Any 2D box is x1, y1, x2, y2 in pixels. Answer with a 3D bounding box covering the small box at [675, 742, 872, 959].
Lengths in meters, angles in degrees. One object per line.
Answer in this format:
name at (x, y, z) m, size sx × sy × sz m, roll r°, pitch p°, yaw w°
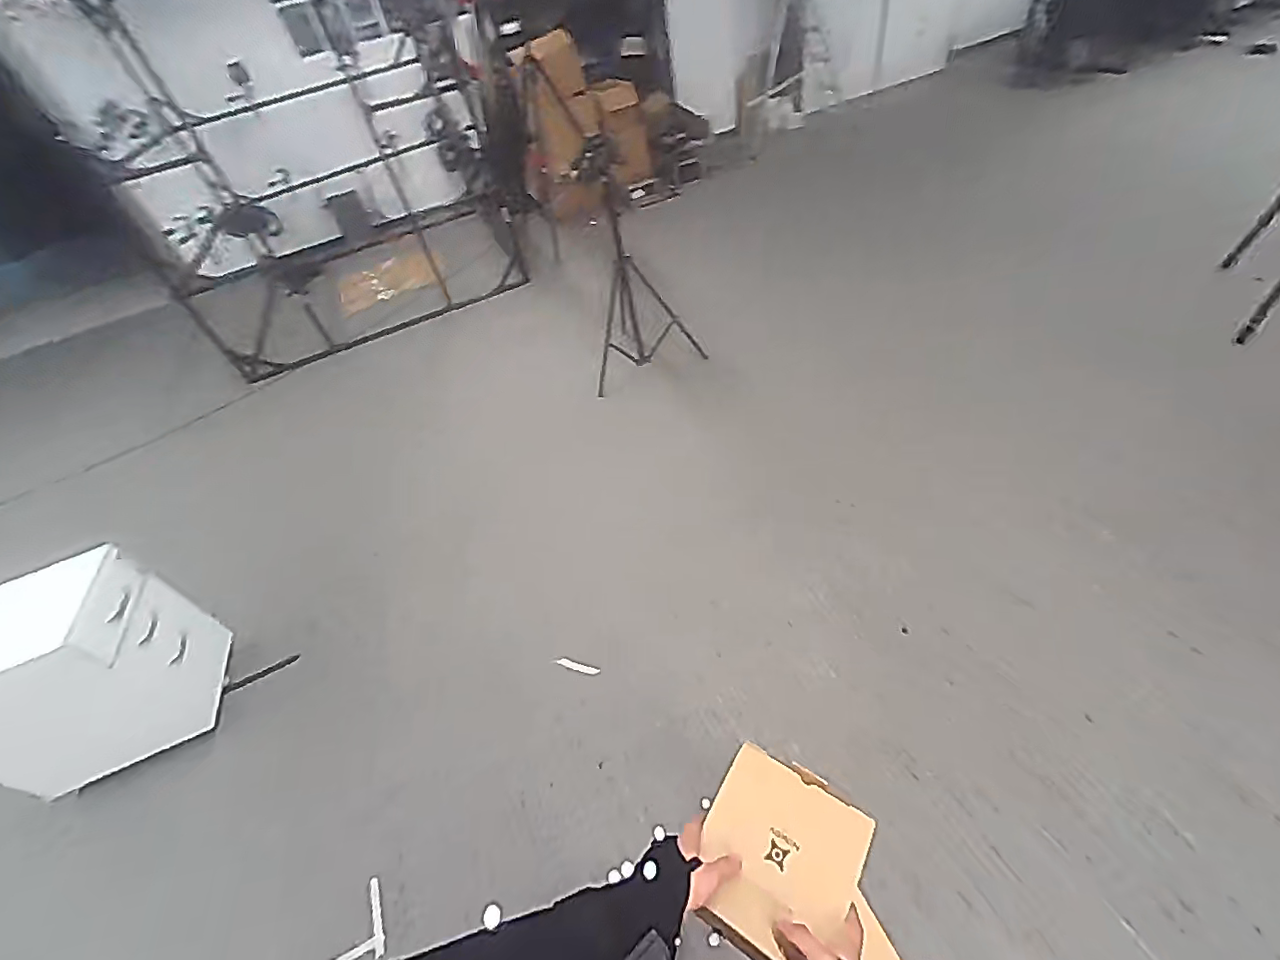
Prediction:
small box at (0.150, 0.463, 0.652) m, size 0.168 × 0.176 × 0.179 m, roll 25°, pitch 53°, yaw 23°
